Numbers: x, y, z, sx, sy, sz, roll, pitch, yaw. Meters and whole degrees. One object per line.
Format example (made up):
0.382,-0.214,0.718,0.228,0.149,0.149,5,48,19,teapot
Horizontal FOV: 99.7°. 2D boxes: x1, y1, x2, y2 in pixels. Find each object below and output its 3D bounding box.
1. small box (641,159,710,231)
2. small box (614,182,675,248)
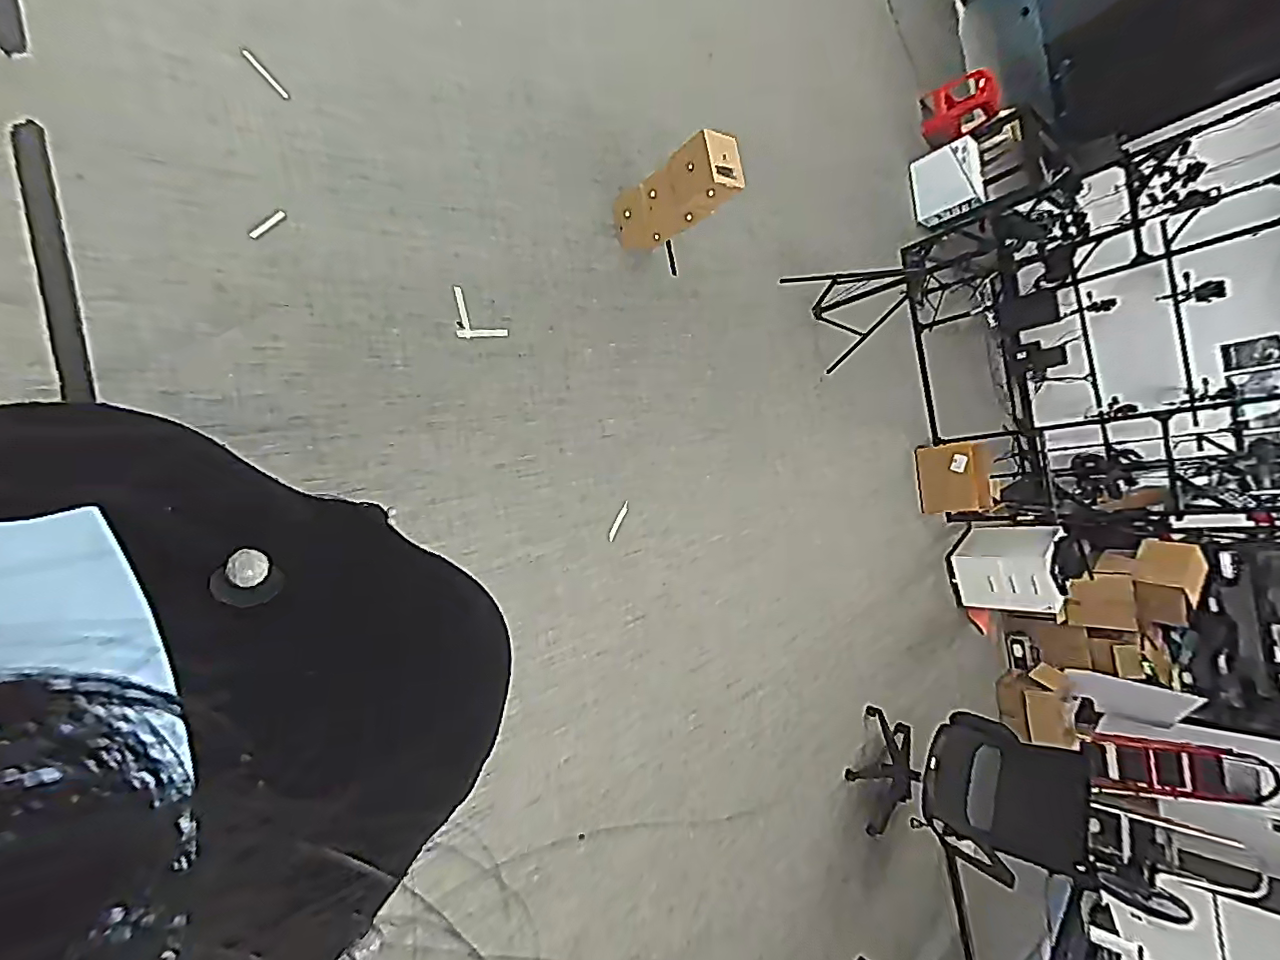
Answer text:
0.128,-1.032,1.977,0.179,0.176,0.168,-12,92,-41,small box
0.015,-1.019,2.093,0.179,0.176,0.168,-15,95,-42,small box
